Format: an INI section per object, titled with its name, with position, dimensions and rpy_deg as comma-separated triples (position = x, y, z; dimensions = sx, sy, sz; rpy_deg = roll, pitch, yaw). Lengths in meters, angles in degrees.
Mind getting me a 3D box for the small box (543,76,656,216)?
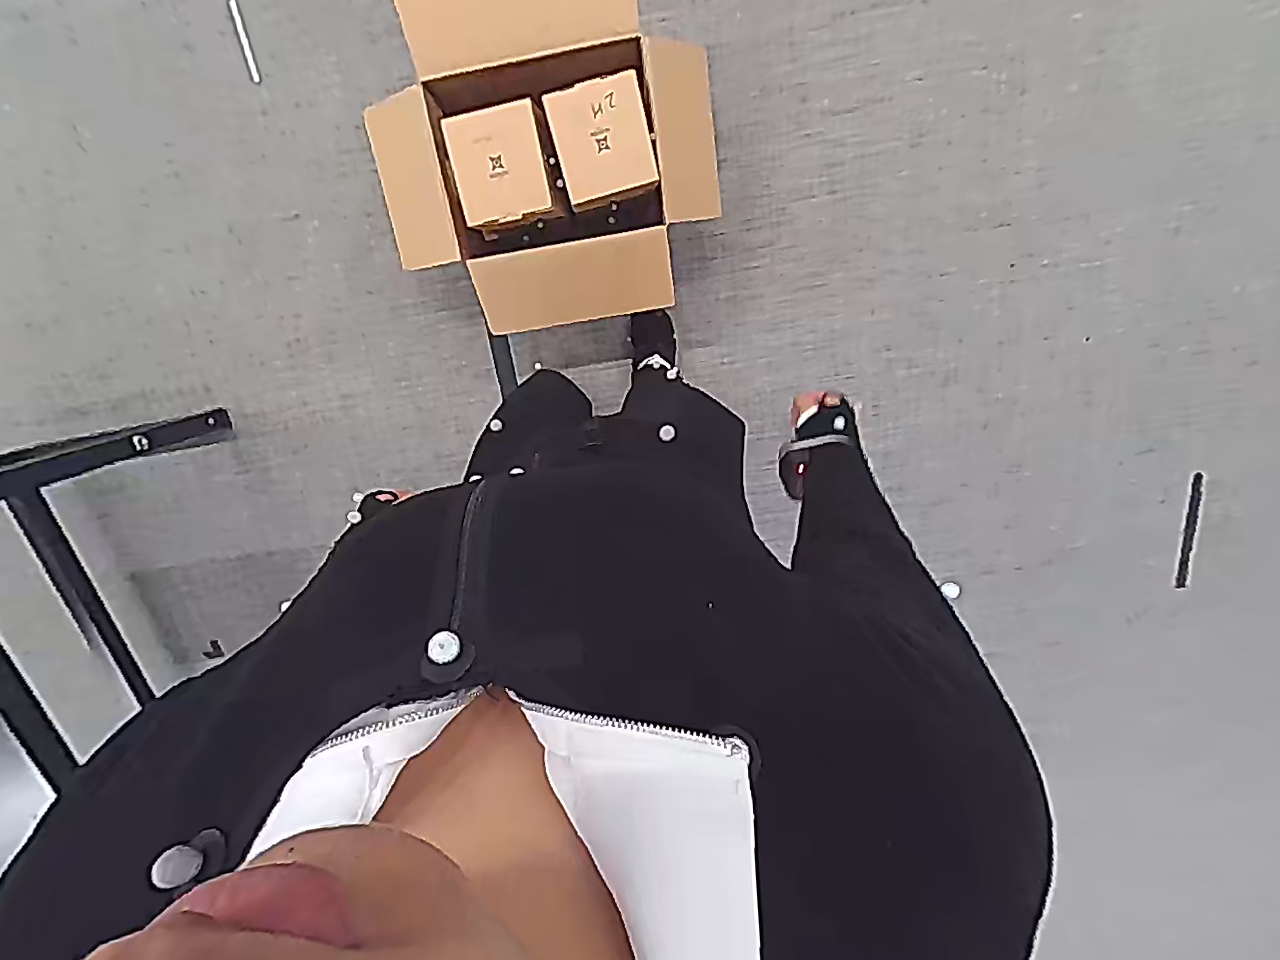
[small box]
position = -0.071, -0.611, 1.019
dimensions = 0.168, 0.176, 0.179
rpy_deg = -15, 109, 2
